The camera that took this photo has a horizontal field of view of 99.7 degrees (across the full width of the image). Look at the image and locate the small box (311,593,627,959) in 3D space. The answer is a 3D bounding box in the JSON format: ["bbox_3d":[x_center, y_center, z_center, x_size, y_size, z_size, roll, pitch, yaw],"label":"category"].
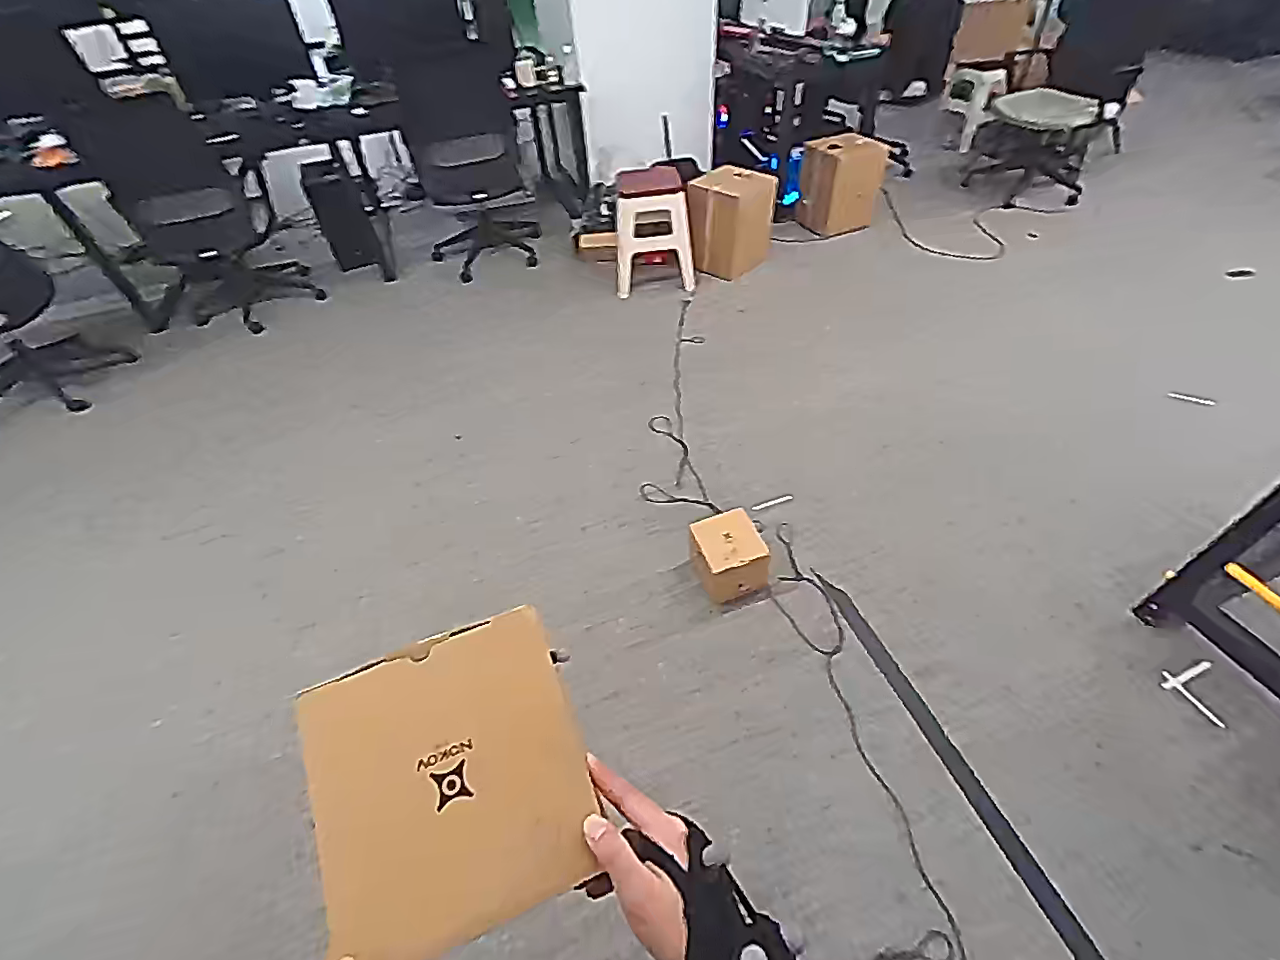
[{"bbox_3d":[-0.116,0.210,0.416,0.168,0.176,0.179,-19,69,-12],"label":"small box"}]

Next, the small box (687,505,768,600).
[{"bbox_3d":[0.240,0.205,1.518,0.168,0.176,0.179,-19,49,-8],"label":"small box"}]
